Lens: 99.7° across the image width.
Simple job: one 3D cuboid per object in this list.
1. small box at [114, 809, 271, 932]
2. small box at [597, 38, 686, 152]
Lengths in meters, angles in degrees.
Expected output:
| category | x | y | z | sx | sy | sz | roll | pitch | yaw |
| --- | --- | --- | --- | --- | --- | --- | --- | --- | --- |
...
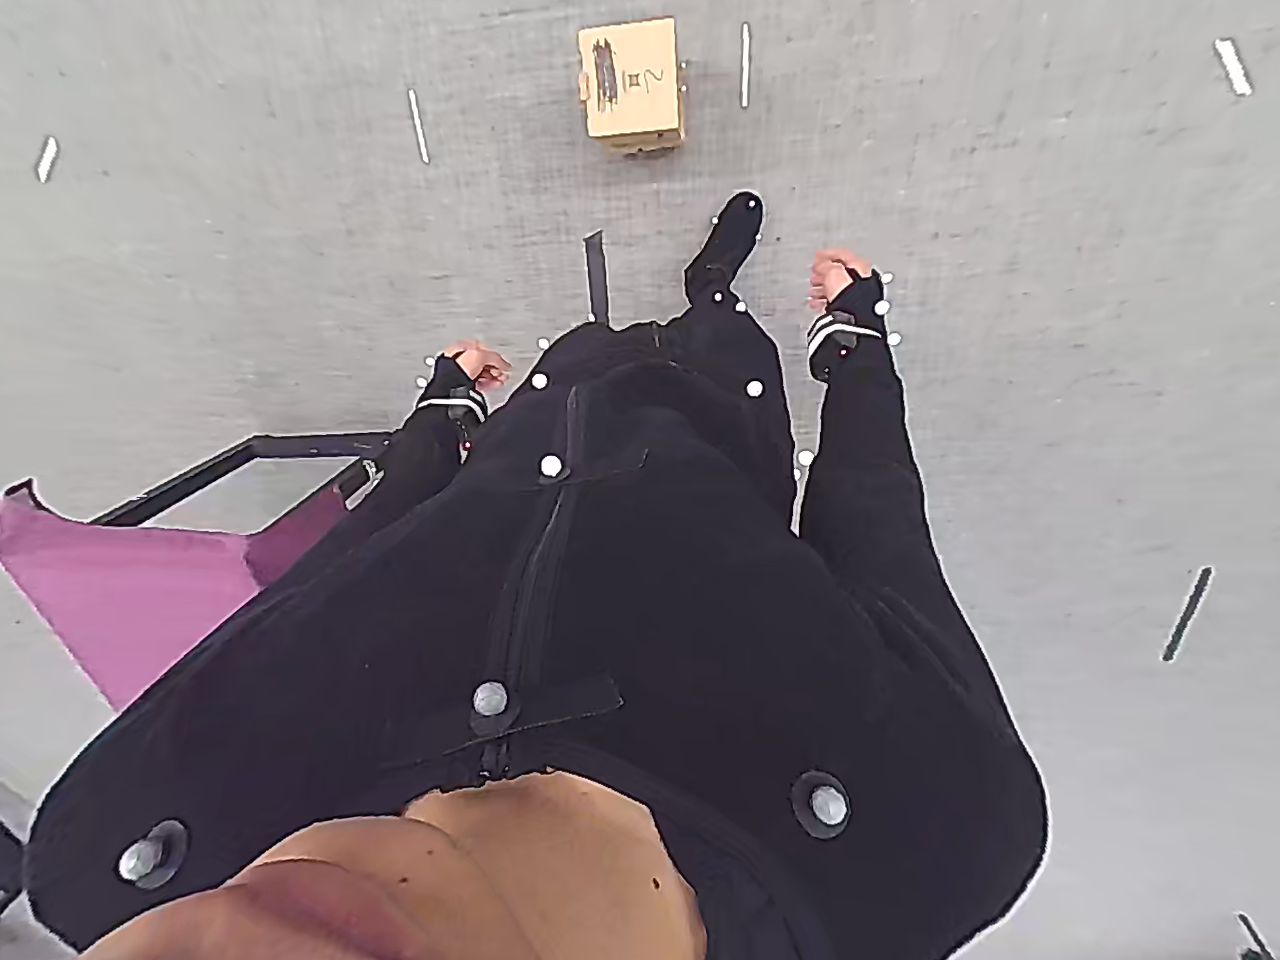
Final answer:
| category | x | y | z | sx | sy | sz | roll | pitch | yaw |
| --- | --- | --- | --- | --- | --- | --- | --- | --- | --- |
| small box | -0.987 | 0.866 | 1.211 | 0.179 | 0.176 | 0.168 | -6 | 118 | 10 |
| small box | 0.011 | -0.841 | 1.200 | 0.168 | 0.176 | 0.179 | -4 | 117 | 9 |
